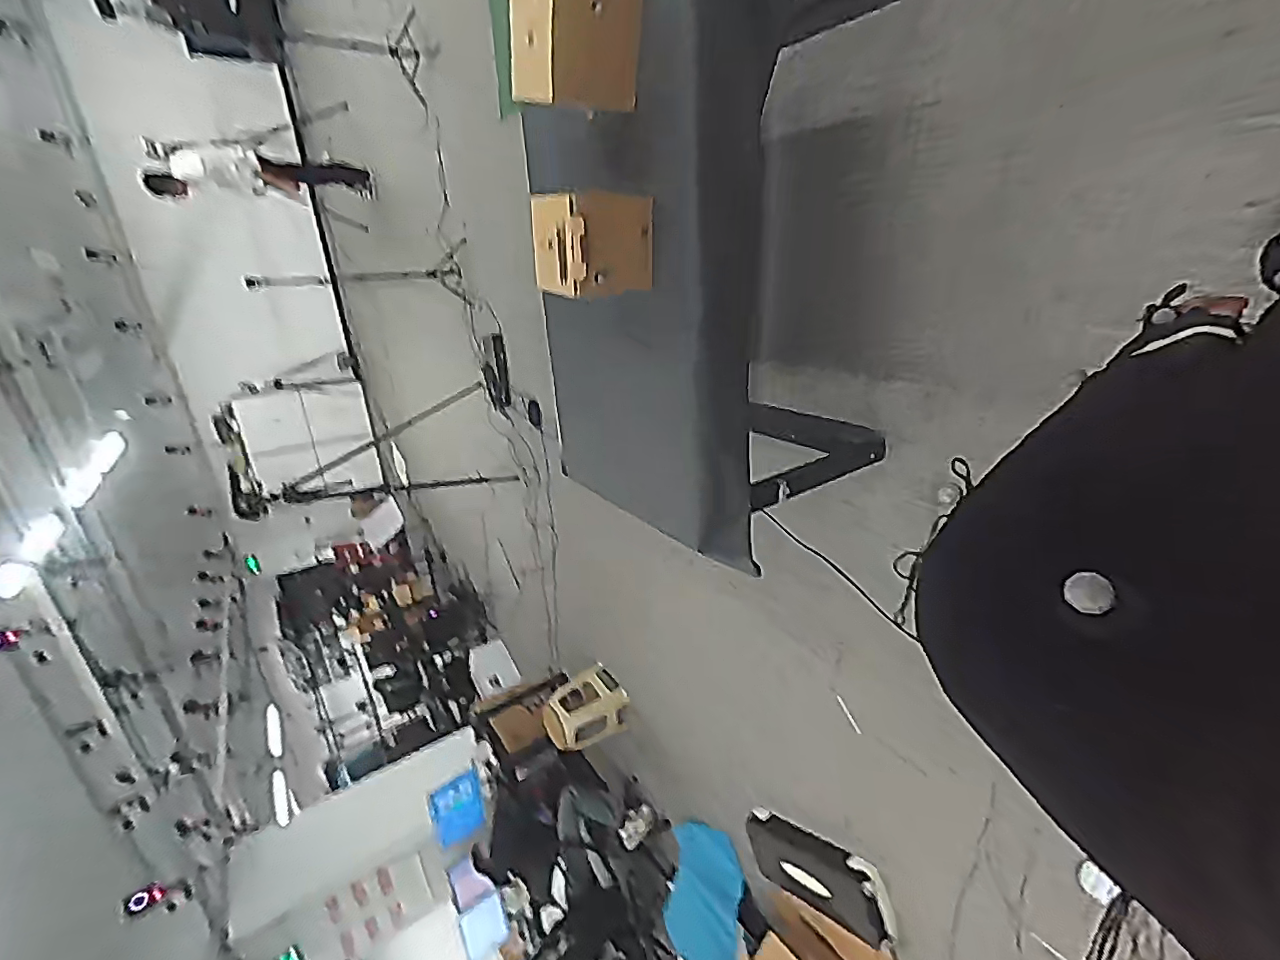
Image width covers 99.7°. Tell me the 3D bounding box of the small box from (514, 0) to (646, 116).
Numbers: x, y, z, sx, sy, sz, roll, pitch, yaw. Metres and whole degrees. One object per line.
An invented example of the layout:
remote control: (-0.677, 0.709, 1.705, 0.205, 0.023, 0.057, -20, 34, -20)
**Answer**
small box: (-0.104, -0.748, 0.937, 0.168, 0.176, 0.179, 42, 138, 42)
